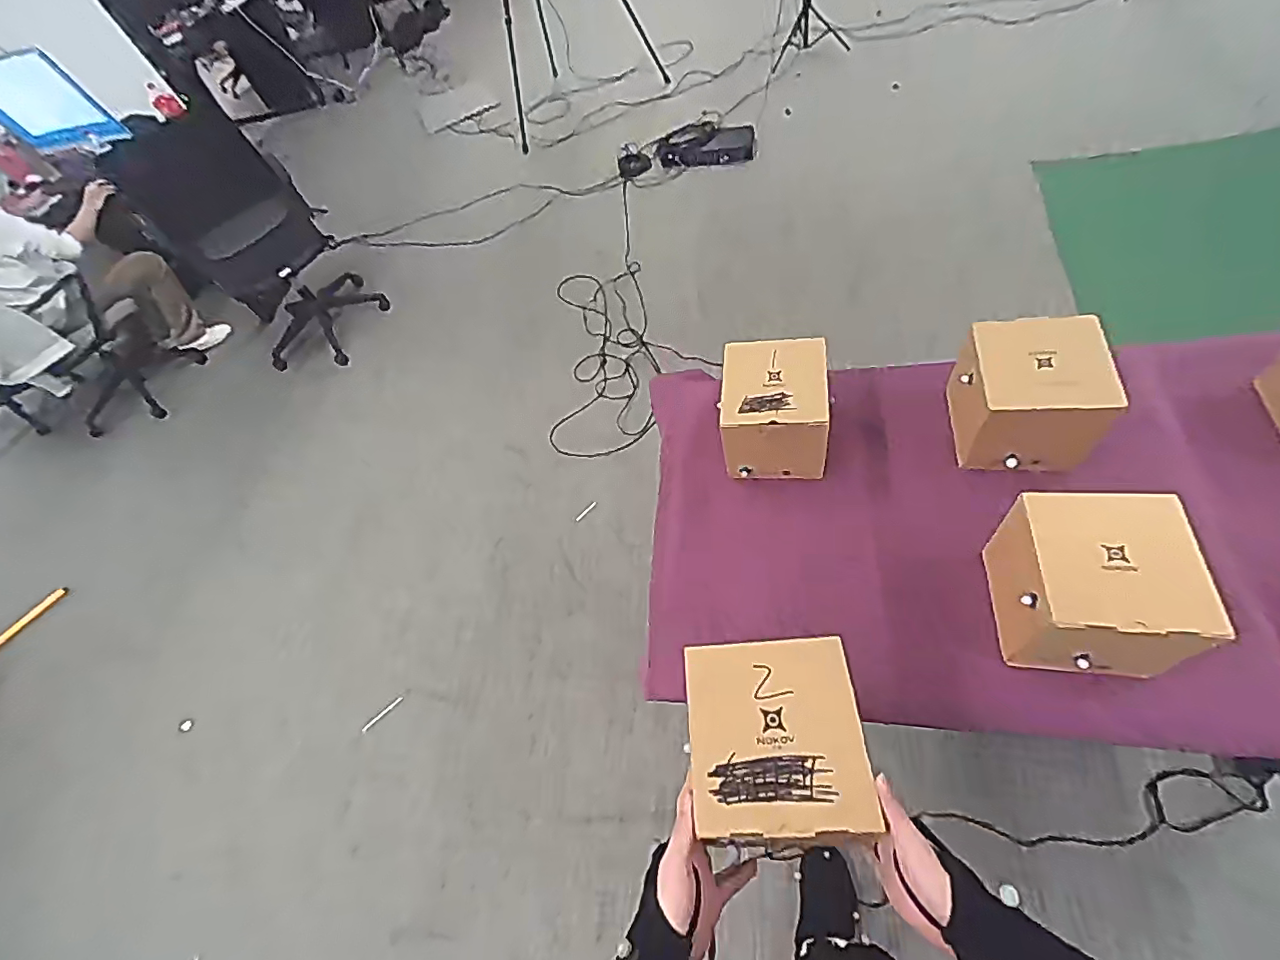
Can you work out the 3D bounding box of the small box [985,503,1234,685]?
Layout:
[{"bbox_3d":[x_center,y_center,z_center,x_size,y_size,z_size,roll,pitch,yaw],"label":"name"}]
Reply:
[{"bbox_3d":[0.569,0.148,0.691,0.168,0.176,0.179,1,59,14],"label":"small box"}]

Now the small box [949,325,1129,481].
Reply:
[{"bbox_3d":[0.601,-0.118,0.844,0.168,0.176,0.179,2,61,15],"label":"small box"}]

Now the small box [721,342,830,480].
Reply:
[{"bbox_3d":[0.232,-0.111,0.923,0.168,0.176,0.179,1,61,13],"label":"small box"}]

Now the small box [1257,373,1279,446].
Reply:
[{"bbox_3d":[1.022,-0.106,0.734,0.168,0.176,0.179,1,60,15],"label":"small box"}]
